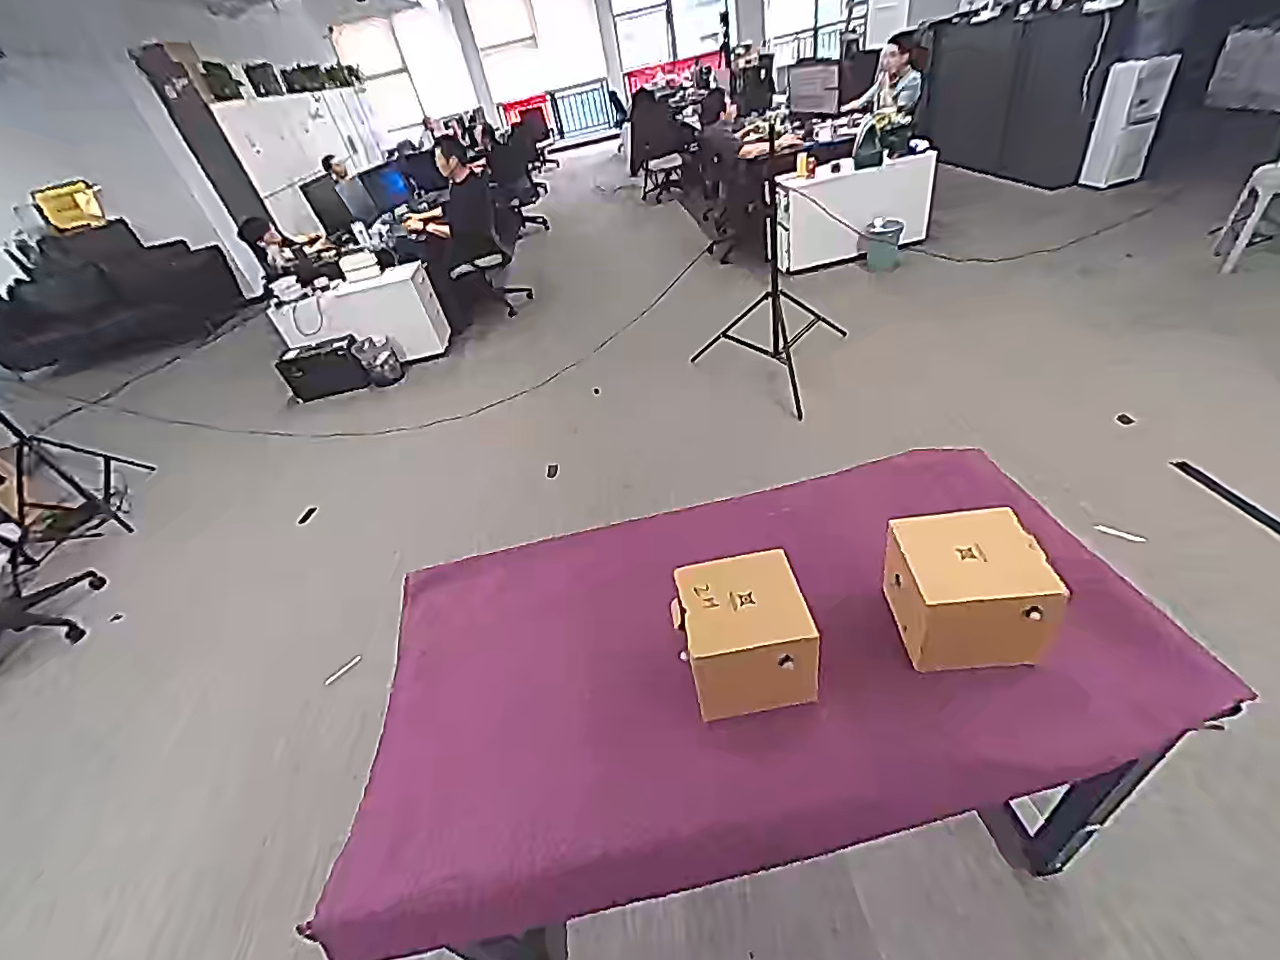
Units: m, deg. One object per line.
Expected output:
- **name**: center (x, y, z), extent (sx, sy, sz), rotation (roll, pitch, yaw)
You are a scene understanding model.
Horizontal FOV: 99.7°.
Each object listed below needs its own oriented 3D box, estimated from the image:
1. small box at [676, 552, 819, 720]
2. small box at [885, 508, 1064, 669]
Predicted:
- **small box**: center (0.160, 0.239, 0.828), extent (0.179, 0.176, 0.168), rotation (-12, 37, 3)
- **small box**: center (0.482, 0.167, 0.816), extent (0.179, 0.176, 0.168), rotation (-8, 38, 9)
